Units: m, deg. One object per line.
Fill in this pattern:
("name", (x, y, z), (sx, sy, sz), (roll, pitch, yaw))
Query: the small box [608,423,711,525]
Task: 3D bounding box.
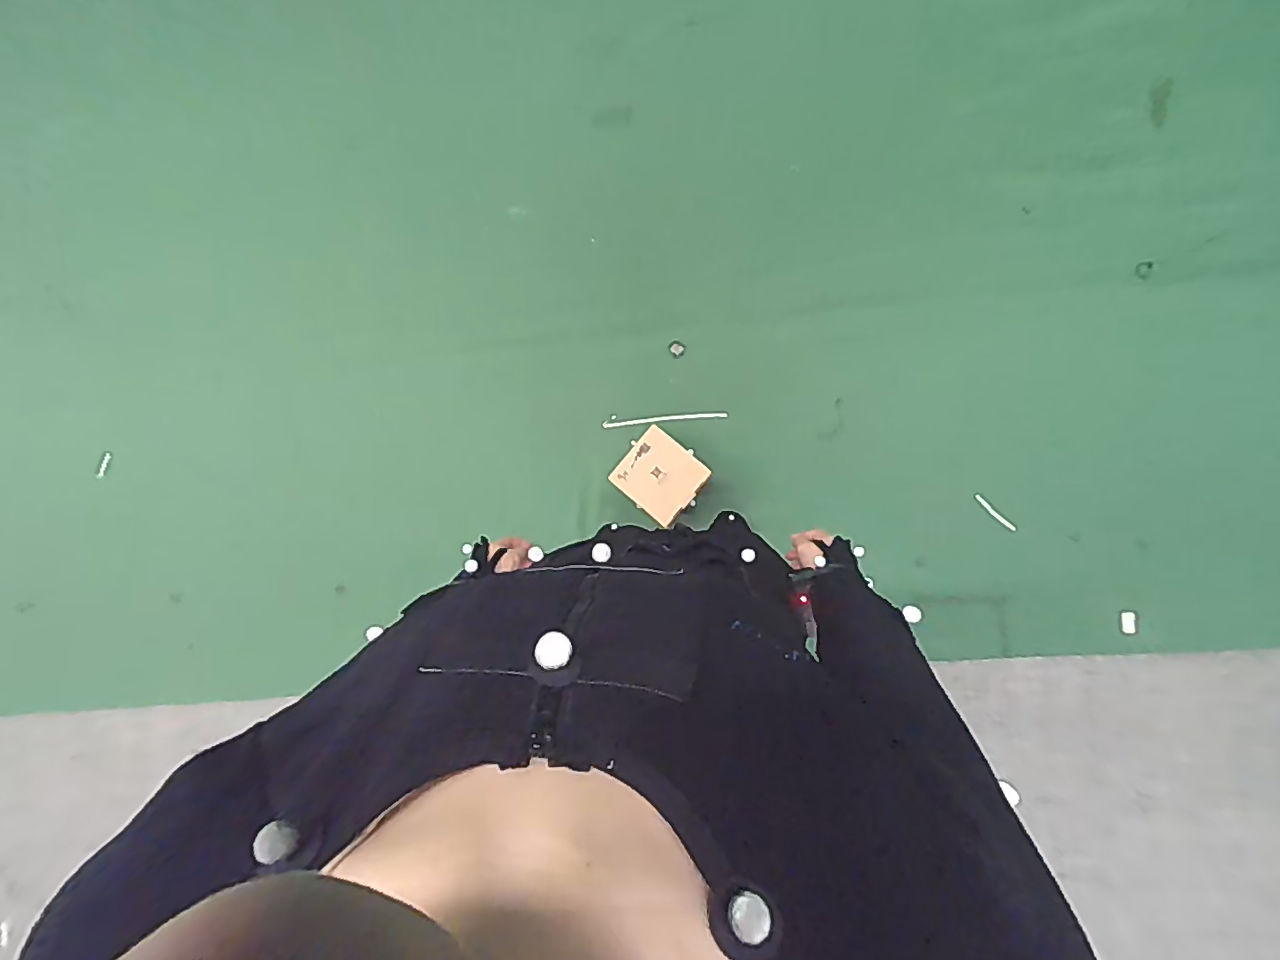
("small box", (0.050, -0.014, 1.285), (0.179, 0.176, 0.168), (41, 92, 5))
